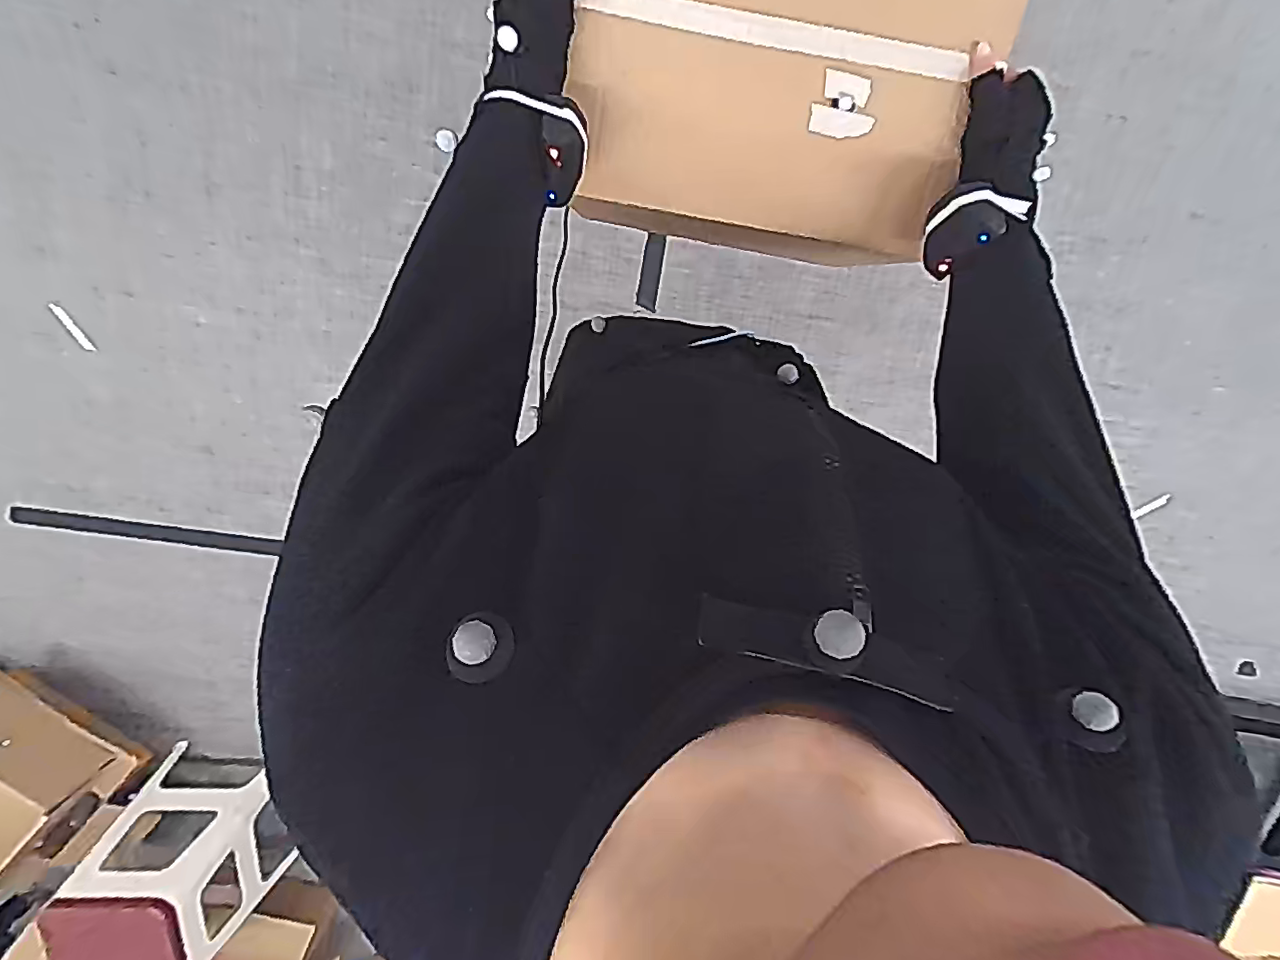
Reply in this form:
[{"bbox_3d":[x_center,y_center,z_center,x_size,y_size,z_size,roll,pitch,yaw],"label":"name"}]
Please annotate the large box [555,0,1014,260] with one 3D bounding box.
[{"bbox_3d":[0.130,-0.457,0.639,0.408,0.320,0.320,9,112,-4],"label":"large box"}]
